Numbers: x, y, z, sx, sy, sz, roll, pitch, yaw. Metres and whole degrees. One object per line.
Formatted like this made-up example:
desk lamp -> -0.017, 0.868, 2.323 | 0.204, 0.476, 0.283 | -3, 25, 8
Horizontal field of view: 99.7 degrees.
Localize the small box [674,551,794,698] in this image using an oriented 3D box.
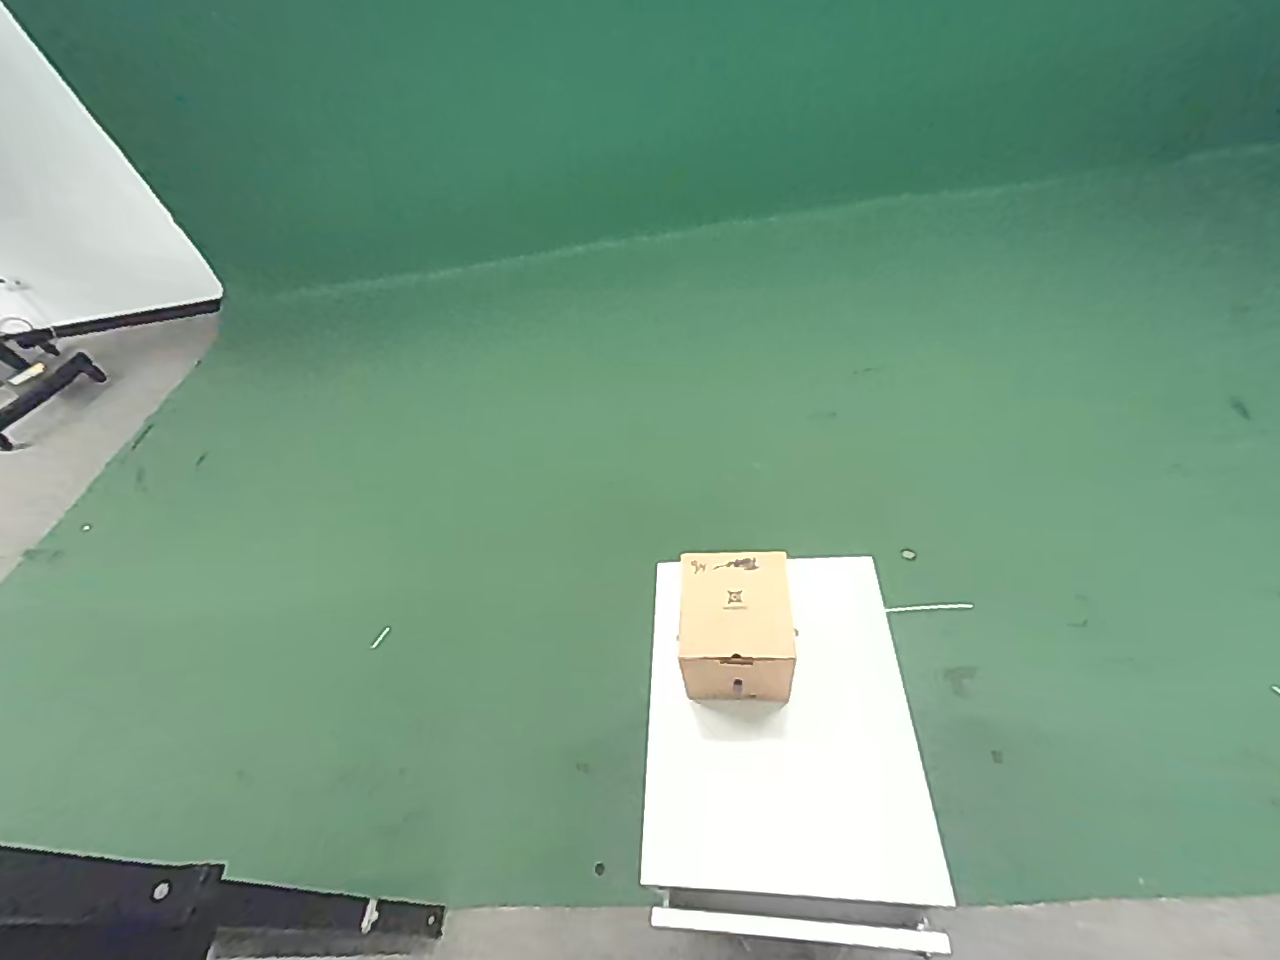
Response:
small box -> 0.147, 0.229, 0.847 | 0.168, 0.176, 0.179 | -2, 50, 10
